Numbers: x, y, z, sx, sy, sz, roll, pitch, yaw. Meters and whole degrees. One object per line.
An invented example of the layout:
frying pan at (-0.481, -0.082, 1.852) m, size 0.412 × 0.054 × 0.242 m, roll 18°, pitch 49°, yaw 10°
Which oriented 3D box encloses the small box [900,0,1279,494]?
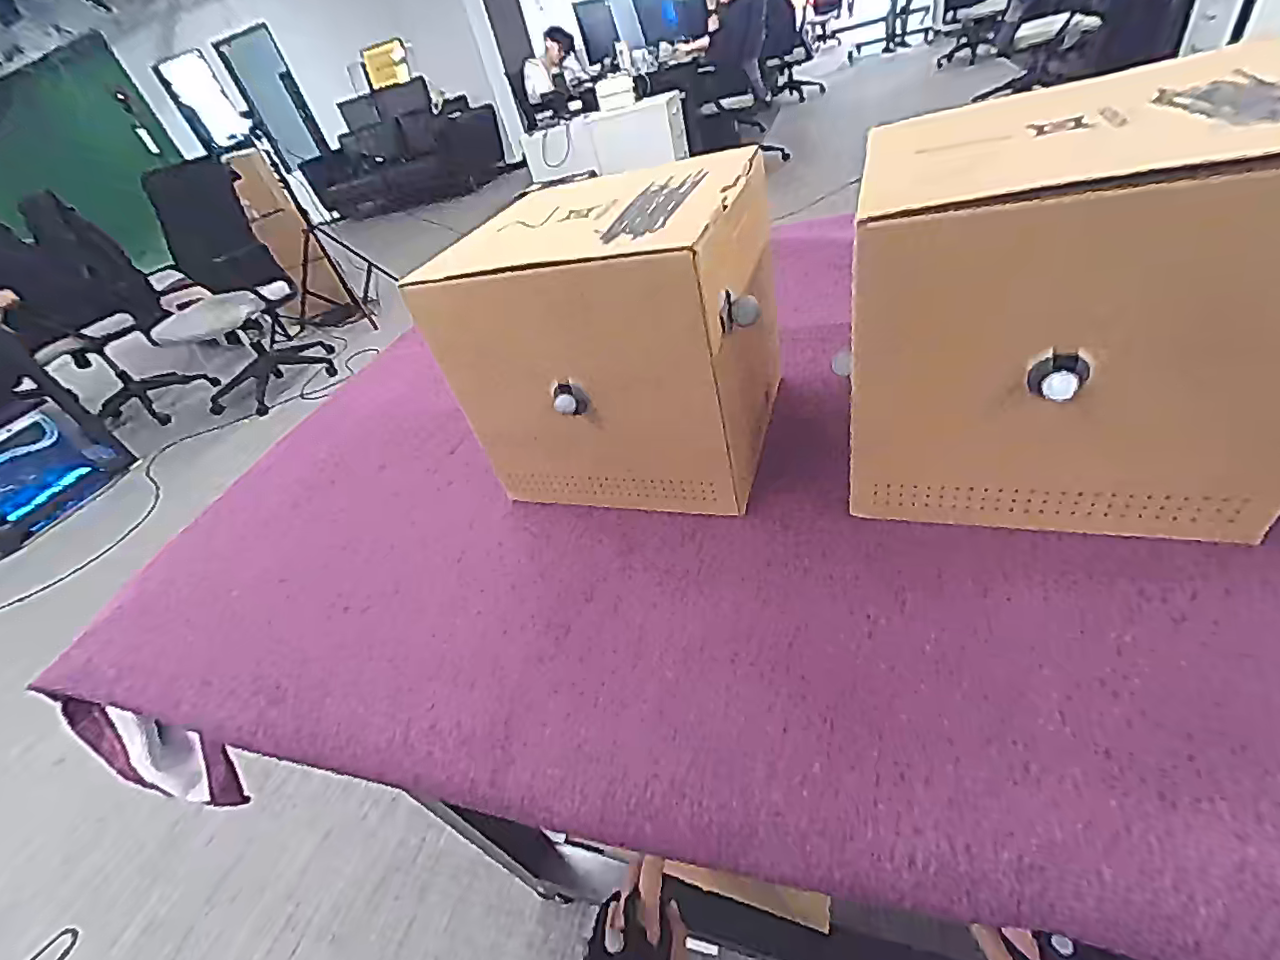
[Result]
small box at (0.256, -0.102, 0.256) m, size 0.179 × 0.176 × 0.168 m, roll -15°, pitch 78°, yaw 10°
